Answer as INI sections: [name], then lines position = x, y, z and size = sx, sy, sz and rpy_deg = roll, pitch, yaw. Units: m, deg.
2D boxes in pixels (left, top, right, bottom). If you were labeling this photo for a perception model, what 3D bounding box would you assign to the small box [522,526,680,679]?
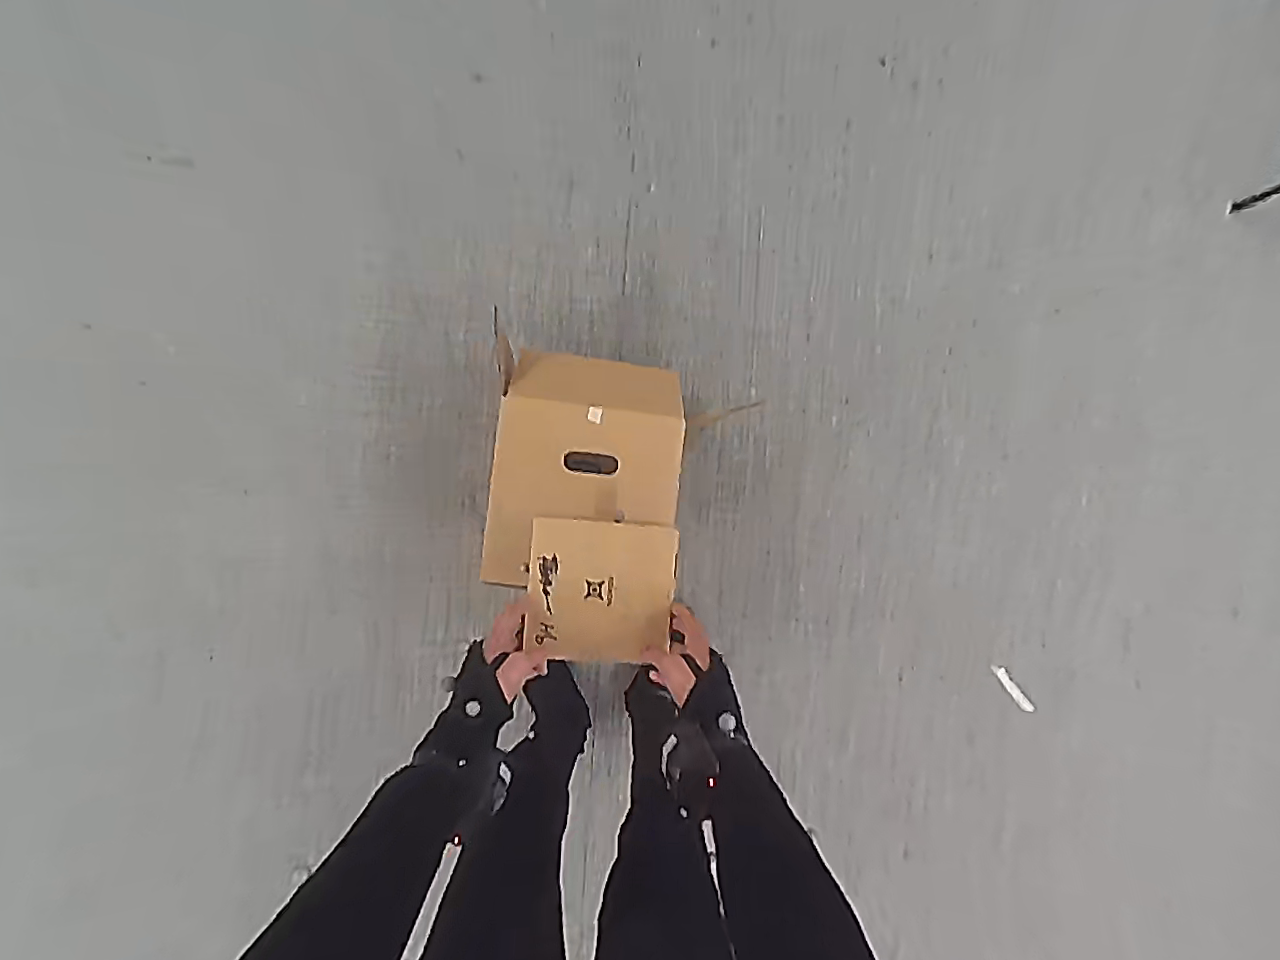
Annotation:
[small box]
position = -0.053, 0.152, 0.722
size = 0.179, 0.176, 0.168
rpy_deg = 5, 88, -5
